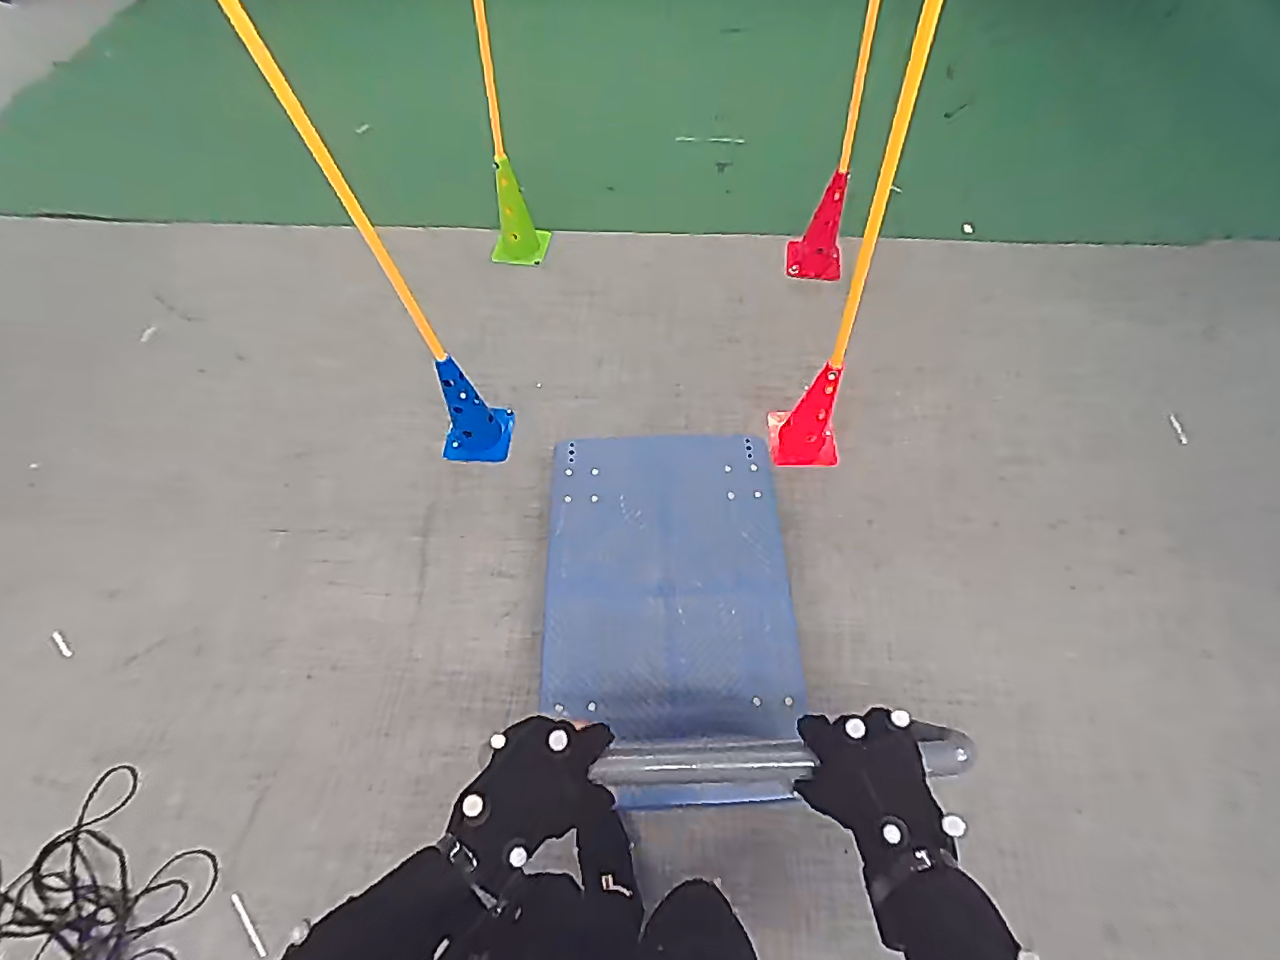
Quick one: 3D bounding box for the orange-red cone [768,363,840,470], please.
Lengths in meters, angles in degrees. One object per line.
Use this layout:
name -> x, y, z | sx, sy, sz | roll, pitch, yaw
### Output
orange-red cone -> 0.500, -0.200, 1.547 | 0.199, 0.360, 0.198 | 1, 61, 3

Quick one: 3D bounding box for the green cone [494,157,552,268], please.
green cone -> -0.461, -0.993, 1.979 | 0.202, 0.368, 0.200 | 6, 61, 4
